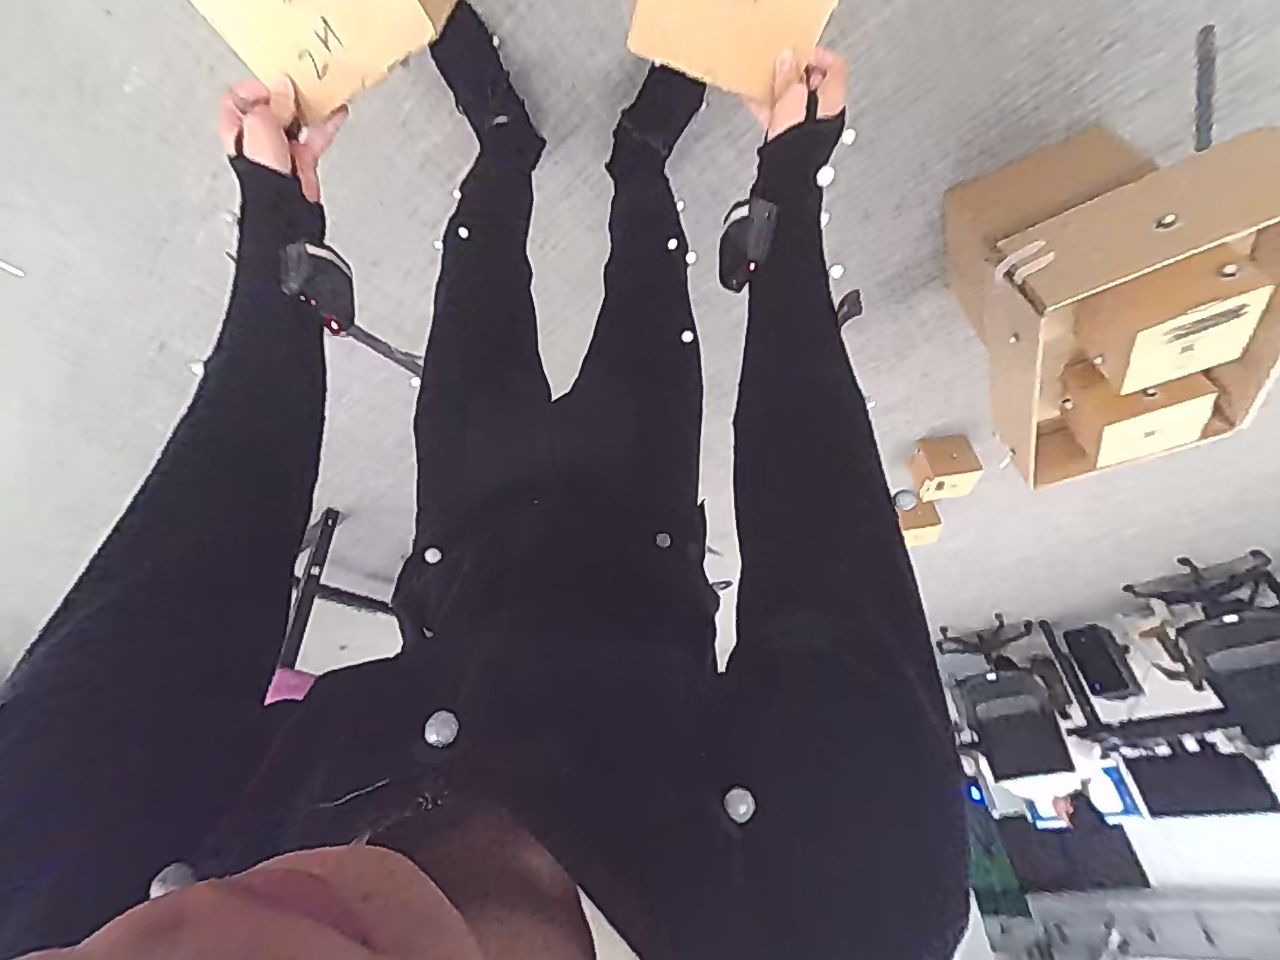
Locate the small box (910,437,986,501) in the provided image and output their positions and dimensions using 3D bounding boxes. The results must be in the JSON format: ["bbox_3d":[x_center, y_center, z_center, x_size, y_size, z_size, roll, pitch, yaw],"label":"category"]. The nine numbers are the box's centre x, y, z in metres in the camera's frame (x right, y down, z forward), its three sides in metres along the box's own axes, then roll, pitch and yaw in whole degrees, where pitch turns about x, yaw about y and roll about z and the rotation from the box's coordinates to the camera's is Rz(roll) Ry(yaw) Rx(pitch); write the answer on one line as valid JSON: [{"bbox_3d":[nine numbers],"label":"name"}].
[{"bbox_3d":[1.137,-0.042,2.016,0.179,0.176,0.168,-7,145,5],"label":"small box"}]

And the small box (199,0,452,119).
[{"bbox_3d":[-0.292,-0.479,0.483,0.168,0.176,0.179,-19,141,18],"label":"small box"}]

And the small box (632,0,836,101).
[{"bbox_3d":[0.095,-0.501,0.489,0.168,0.176,0.179,11,148,-13],"label":"small box"}]

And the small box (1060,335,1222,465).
[{"bbox_3d":[1.003,-0.163,1.103,0.179,0.176,0.168,-20,141,23],"label":"small box"}]

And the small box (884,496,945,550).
[{"bbox_3d":[1.182,0.182,2.339,0.179,0.176,0.168,-12,144,10],"label":"small box"}]
